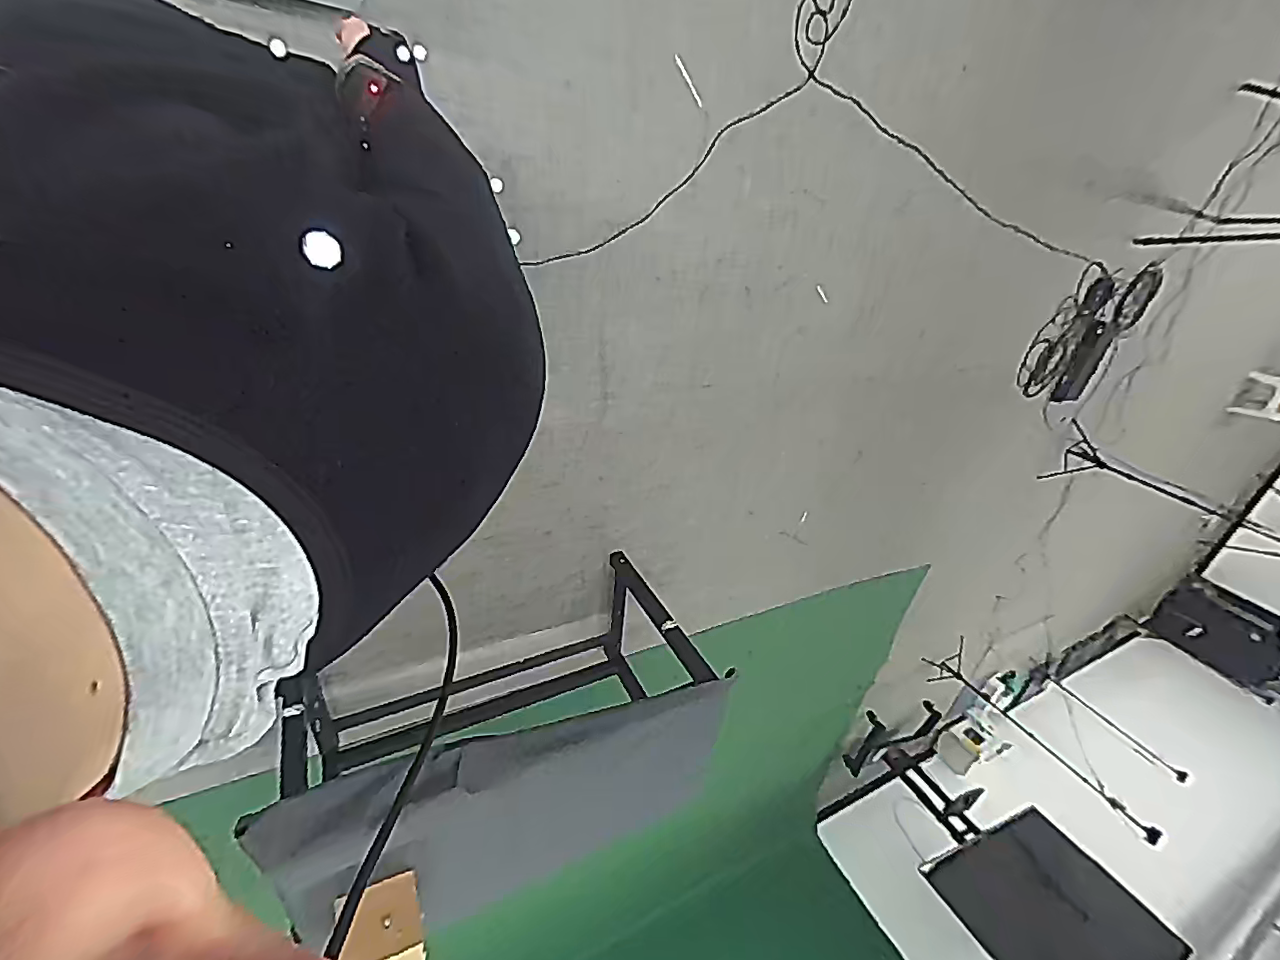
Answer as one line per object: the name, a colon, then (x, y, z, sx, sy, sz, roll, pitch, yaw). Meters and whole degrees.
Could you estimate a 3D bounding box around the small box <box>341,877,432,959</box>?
small box: (-0.611, 1.108, 1.299, 0.179, 0.176, 0.168, -5, 120, -31)
